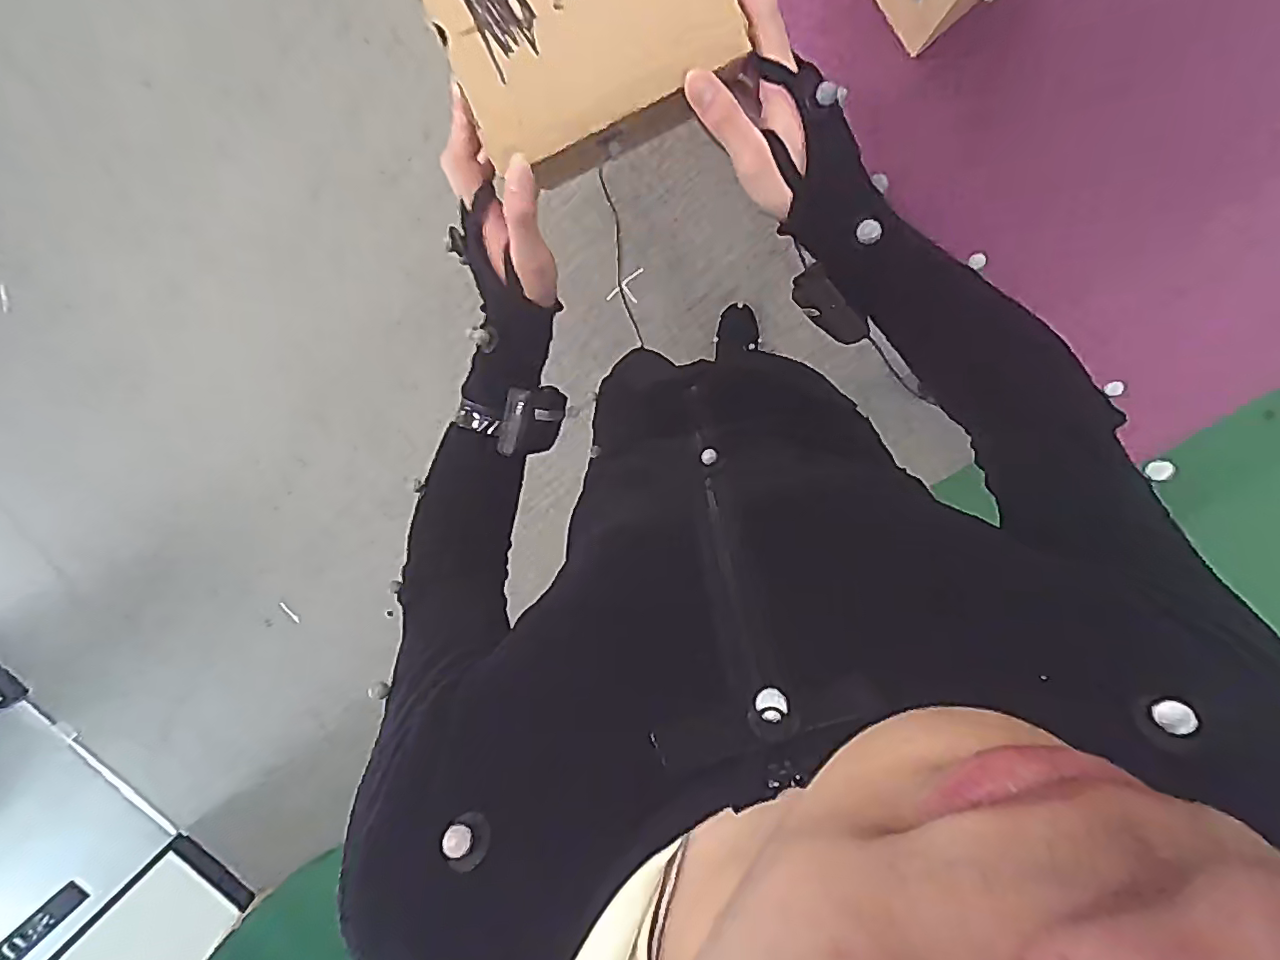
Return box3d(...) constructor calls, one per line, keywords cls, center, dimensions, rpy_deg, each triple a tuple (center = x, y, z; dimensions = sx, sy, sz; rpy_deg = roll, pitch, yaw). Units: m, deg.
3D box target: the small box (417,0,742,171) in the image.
box3d(cls="small box", center=(-0.044, -0.336, 0.374), dimensions=(0.179, 0.176, 0.168), rpy_deg=(-20, 114, 11))
